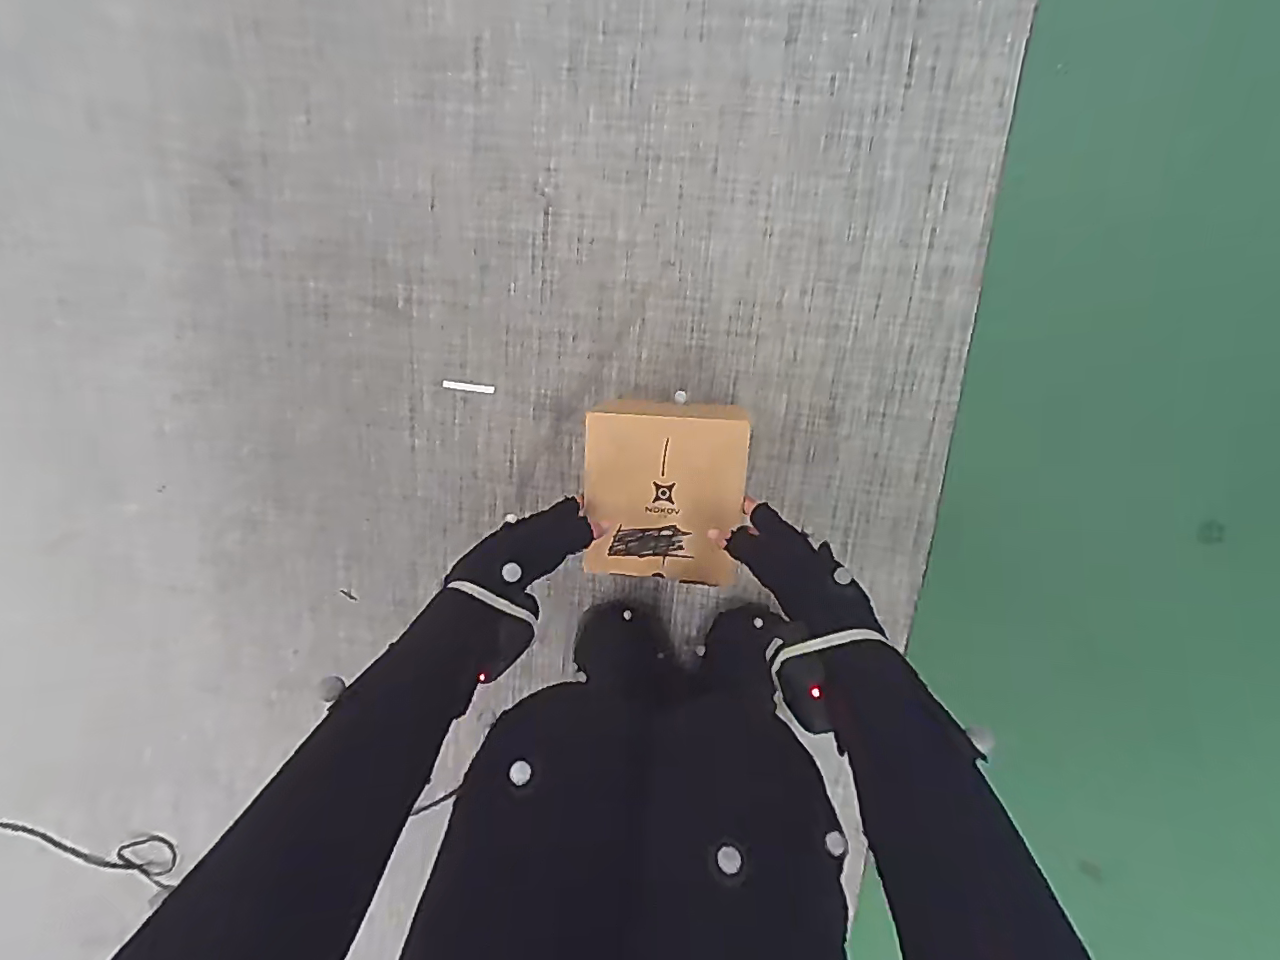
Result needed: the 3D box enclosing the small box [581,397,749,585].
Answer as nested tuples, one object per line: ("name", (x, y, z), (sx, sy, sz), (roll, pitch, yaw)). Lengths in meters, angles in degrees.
("small box", (0.033, 0.001, 0.627), (0.168, 0.176, 0.179), (4, 102, 7))
